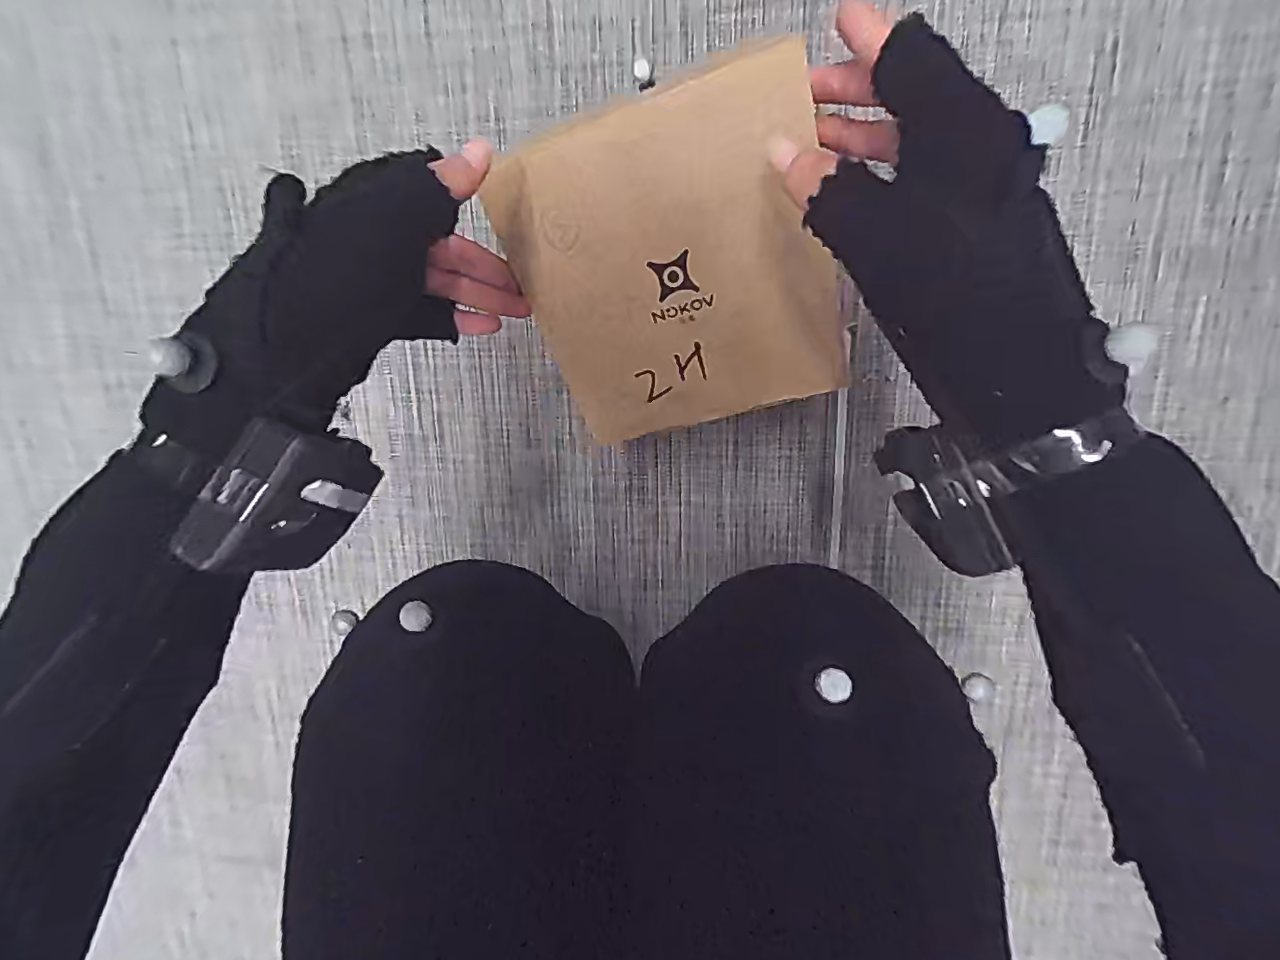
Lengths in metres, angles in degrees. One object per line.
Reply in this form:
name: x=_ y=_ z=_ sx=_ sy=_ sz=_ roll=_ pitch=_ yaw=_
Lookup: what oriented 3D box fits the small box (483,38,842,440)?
small box: x=0.029 y=-0.155 z=0.356 sx=0.168 sy=0.176 sz=0.179 roll=-9 pitch=128 yaw=16
